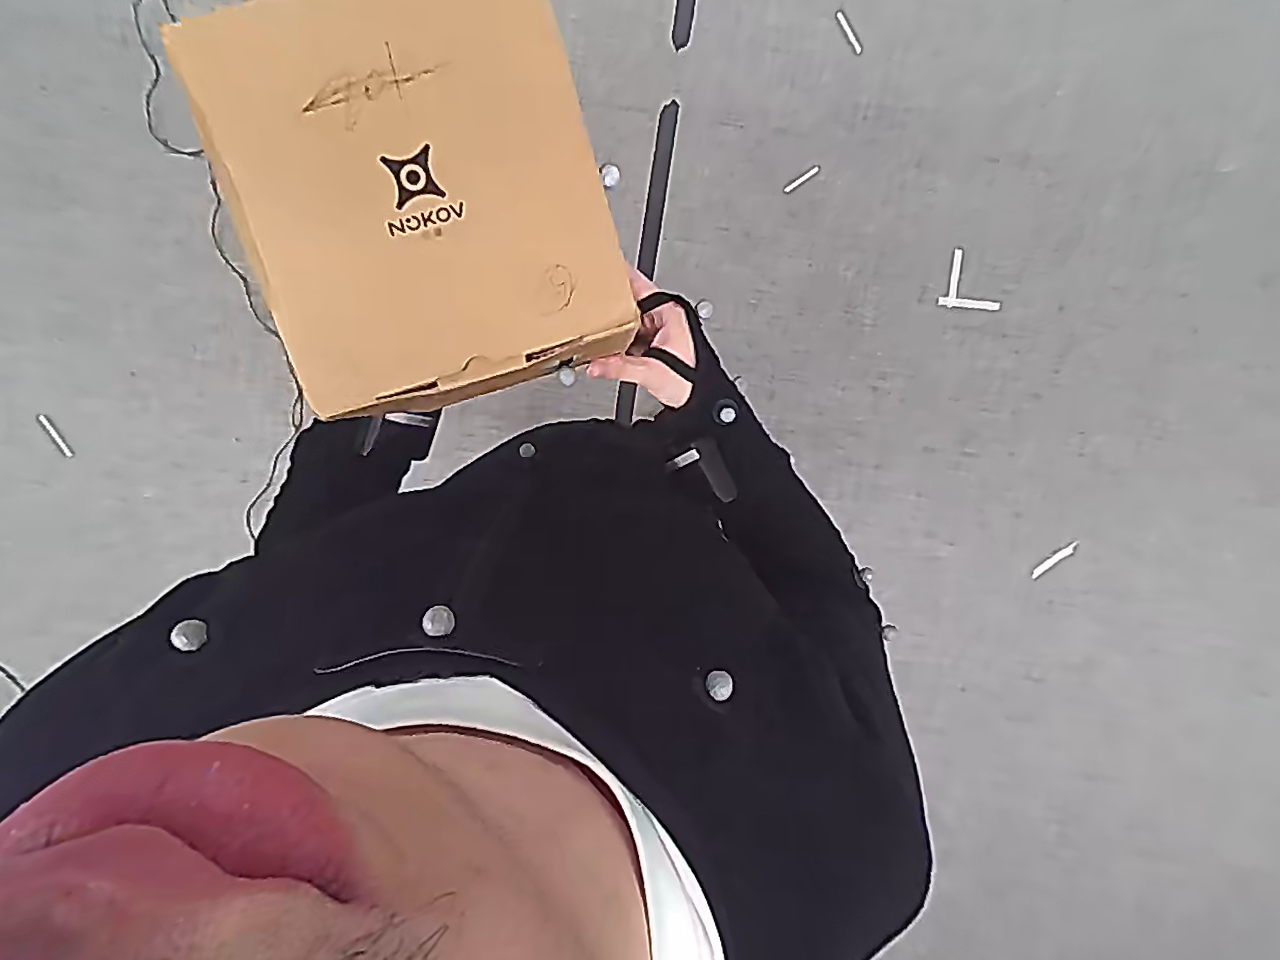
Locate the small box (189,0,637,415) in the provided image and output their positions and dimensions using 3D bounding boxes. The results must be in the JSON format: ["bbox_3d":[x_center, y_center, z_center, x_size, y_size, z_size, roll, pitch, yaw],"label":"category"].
[{"bbox_3d":[-0.107,-0.149,0.337,0.168,0.176,0.179,-18,99,-2],"label":"small box"}]
